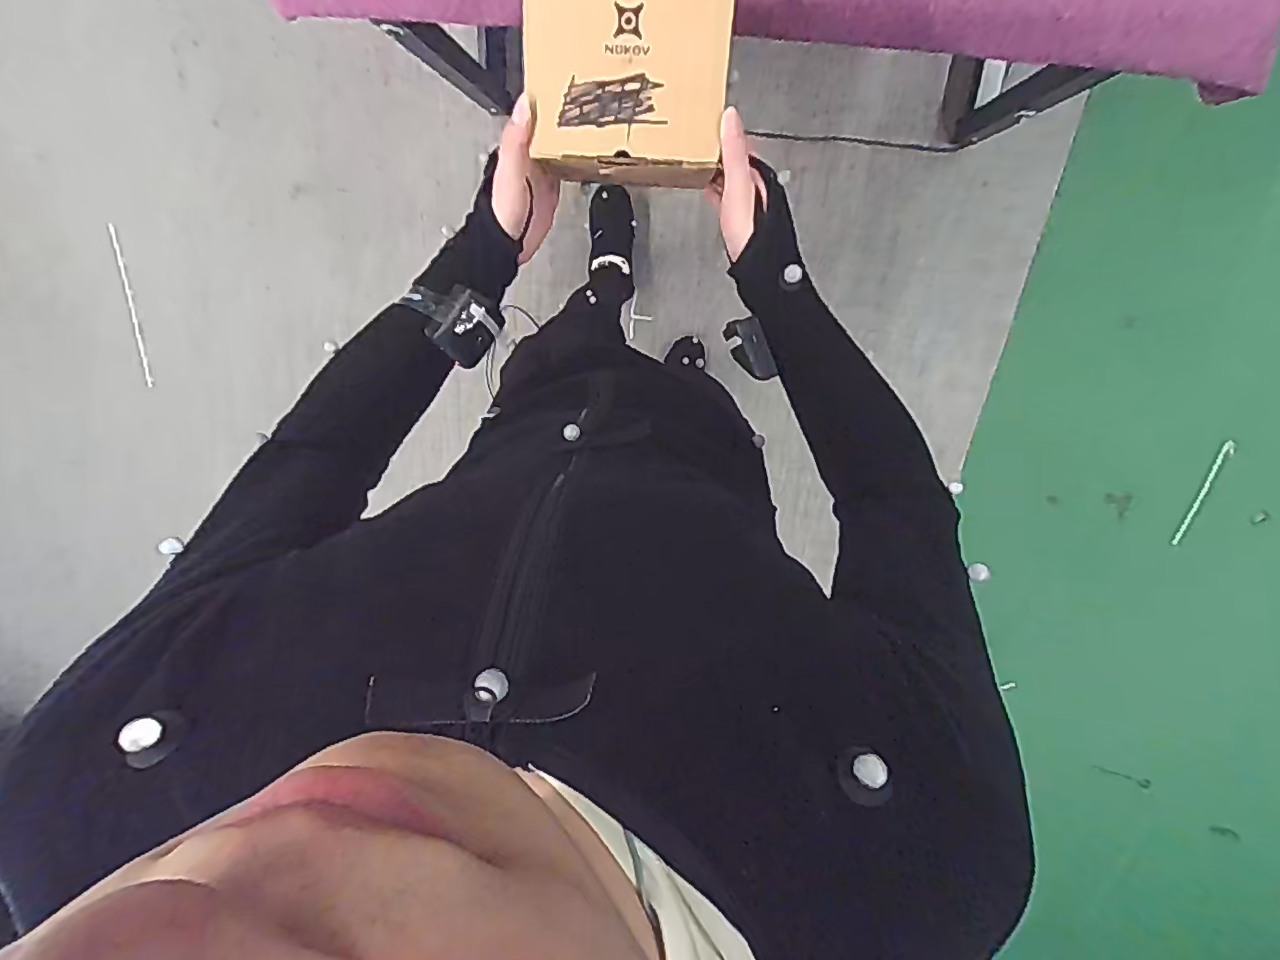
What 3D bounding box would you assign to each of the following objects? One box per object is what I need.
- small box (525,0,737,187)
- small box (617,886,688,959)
[{"bbox_3d":[-0.005,-0.377,0.494,0.168,0.176,0.179,4,112,0],"label":"small box"},{"bbox_3d":[0.031,1.198,1.391,0.168,0.176,0.179,8,111,2],"label":"small box"}]
